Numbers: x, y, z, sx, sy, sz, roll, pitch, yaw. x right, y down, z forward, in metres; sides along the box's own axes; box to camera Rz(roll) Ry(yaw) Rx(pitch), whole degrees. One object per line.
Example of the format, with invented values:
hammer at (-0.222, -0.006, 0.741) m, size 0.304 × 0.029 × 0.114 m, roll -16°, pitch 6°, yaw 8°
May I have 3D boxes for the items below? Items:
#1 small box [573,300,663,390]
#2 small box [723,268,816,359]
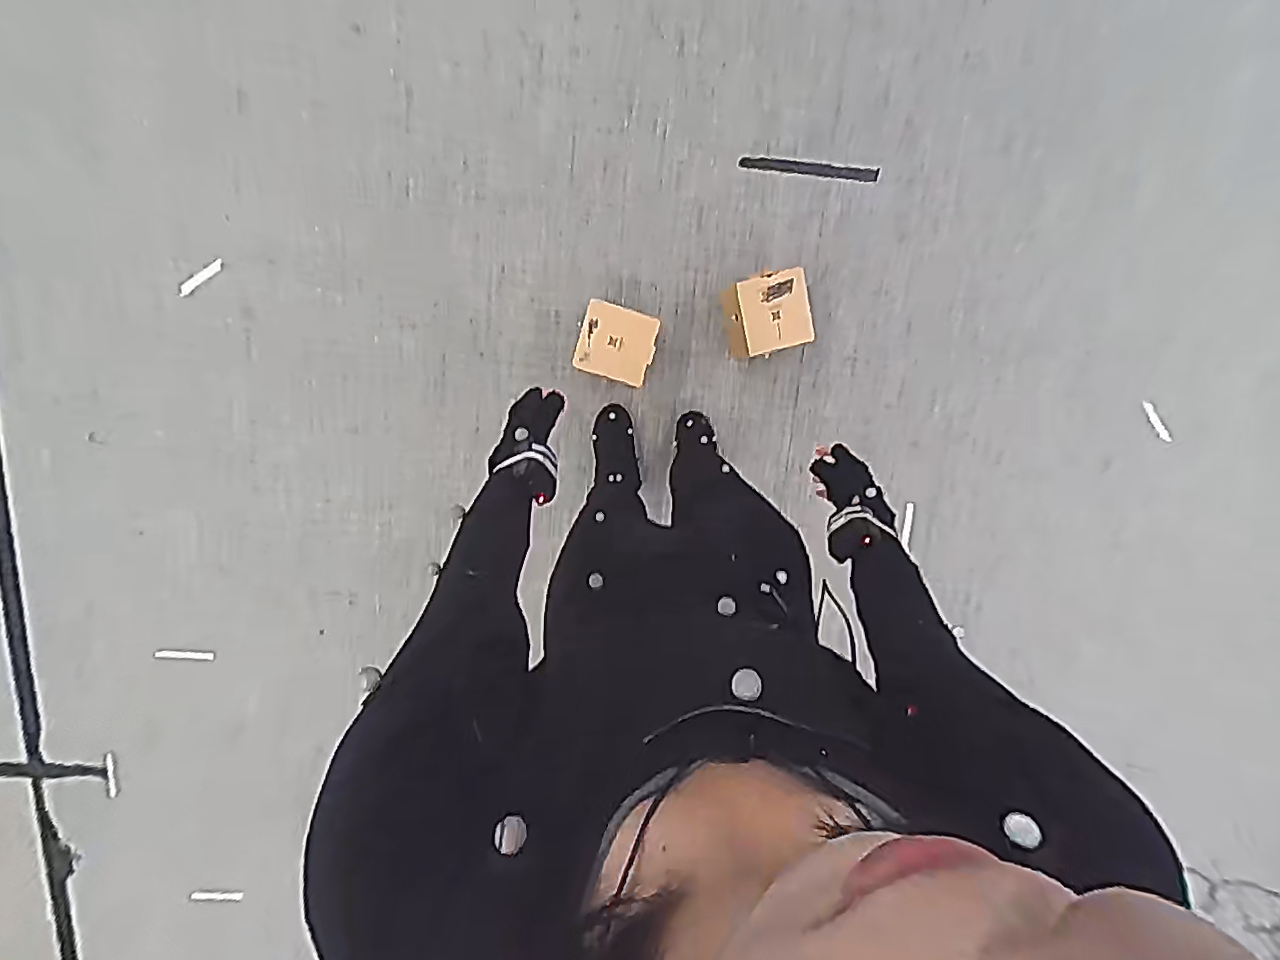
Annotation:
small box at (-0.057, -0.331, 1.338) m, size 0.179 × 0.176 × 0.168 m, roll 17°, pitch 99°, yaw -7°
small box at (0.316, -0.408, 1.347) m, size 0.168 × 0.176 × 0.179 m, roll -15°, pitch 102°, yaw -1°
